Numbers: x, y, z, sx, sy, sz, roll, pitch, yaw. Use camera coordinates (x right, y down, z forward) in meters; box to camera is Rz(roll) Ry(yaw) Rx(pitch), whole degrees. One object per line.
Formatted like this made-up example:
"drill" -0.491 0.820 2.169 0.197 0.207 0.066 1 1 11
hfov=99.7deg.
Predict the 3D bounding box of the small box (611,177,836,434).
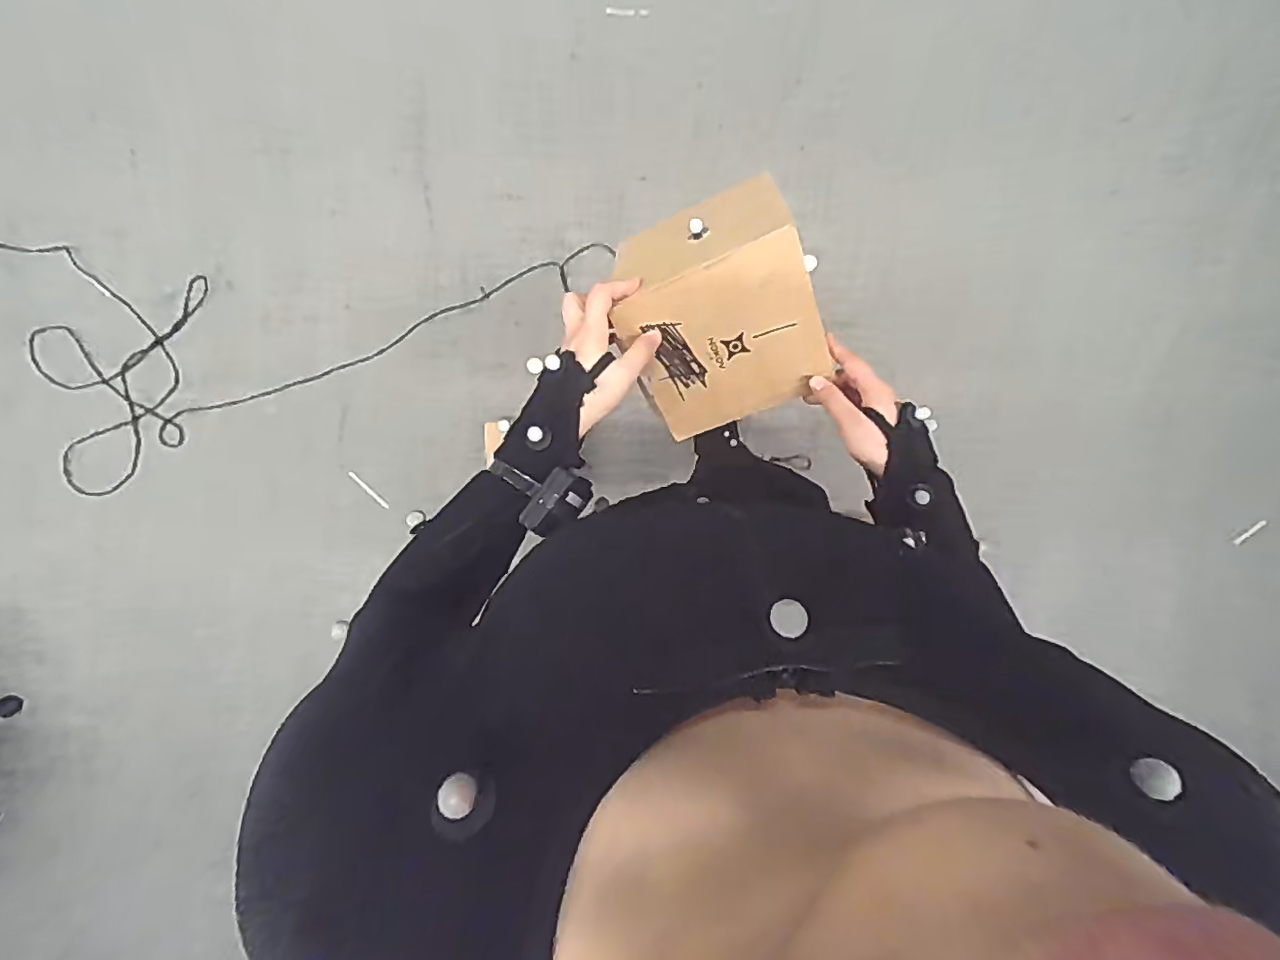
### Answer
"small box" 0.088 -0.183 0.573 0.179 0.176 0.168 -18 131 19

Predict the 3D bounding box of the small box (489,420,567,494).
"small box" -0.281 -0.061 1.385 0.168 0.176 0.179 -2 96 1
